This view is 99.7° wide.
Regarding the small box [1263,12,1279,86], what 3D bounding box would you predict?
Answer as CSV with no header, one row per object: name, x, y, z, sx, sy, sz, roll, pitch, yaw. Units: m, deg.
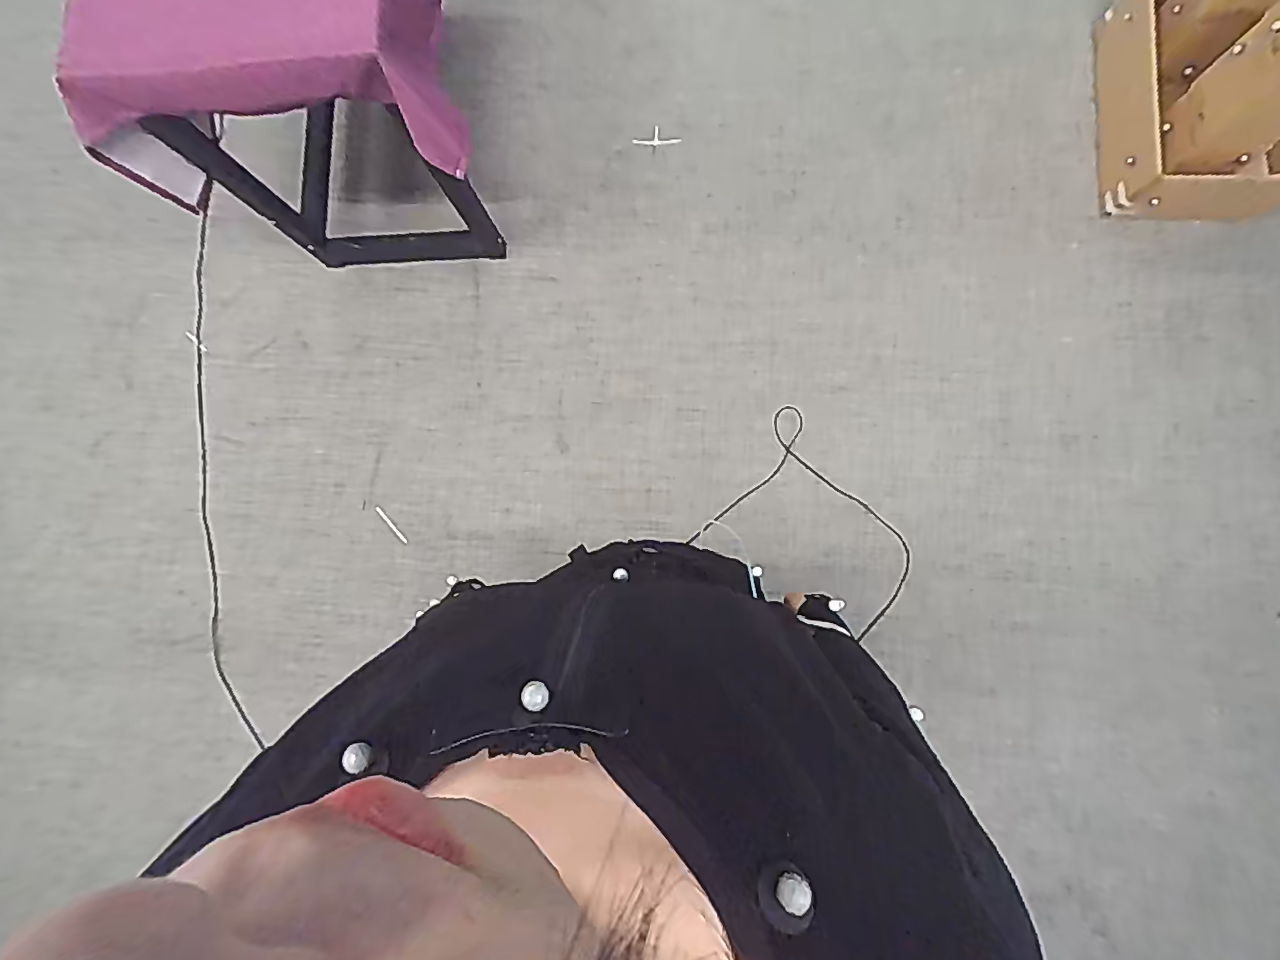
small box,1.419,-0.917,1.072,0.179,0.176,0.168,6,83,5

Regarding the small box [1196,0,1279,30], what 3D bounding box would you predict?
small box,1.467,-1.202,1.262,0.179,0.176,0.168,9,85,4
